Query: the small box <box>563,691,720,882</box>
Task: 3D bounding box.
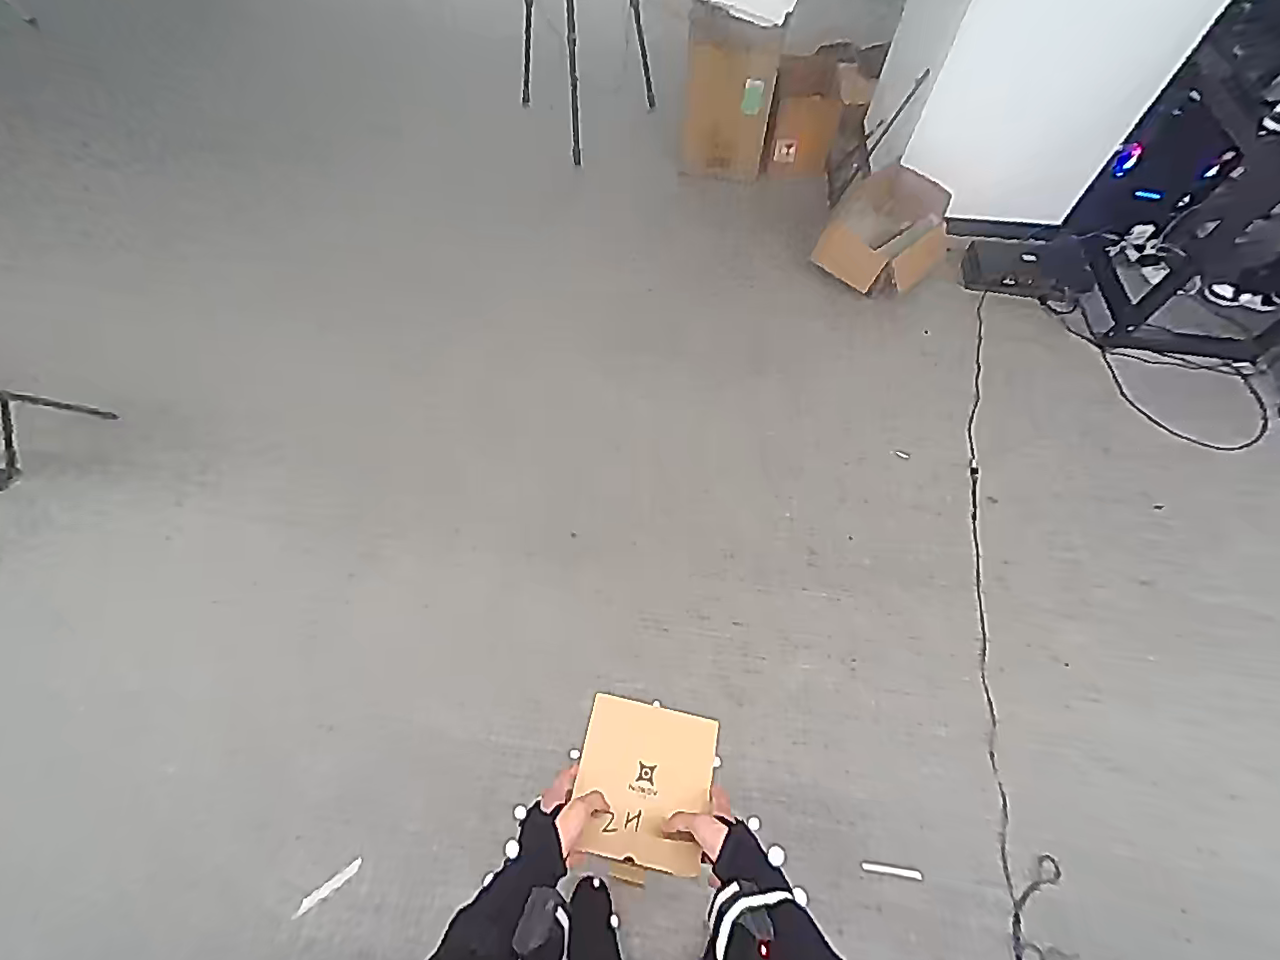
[{"bbox_3d":[-0.001,0.403,0.730,0.168,0.176,0.179,14,62,2],"label":"small box"}]
